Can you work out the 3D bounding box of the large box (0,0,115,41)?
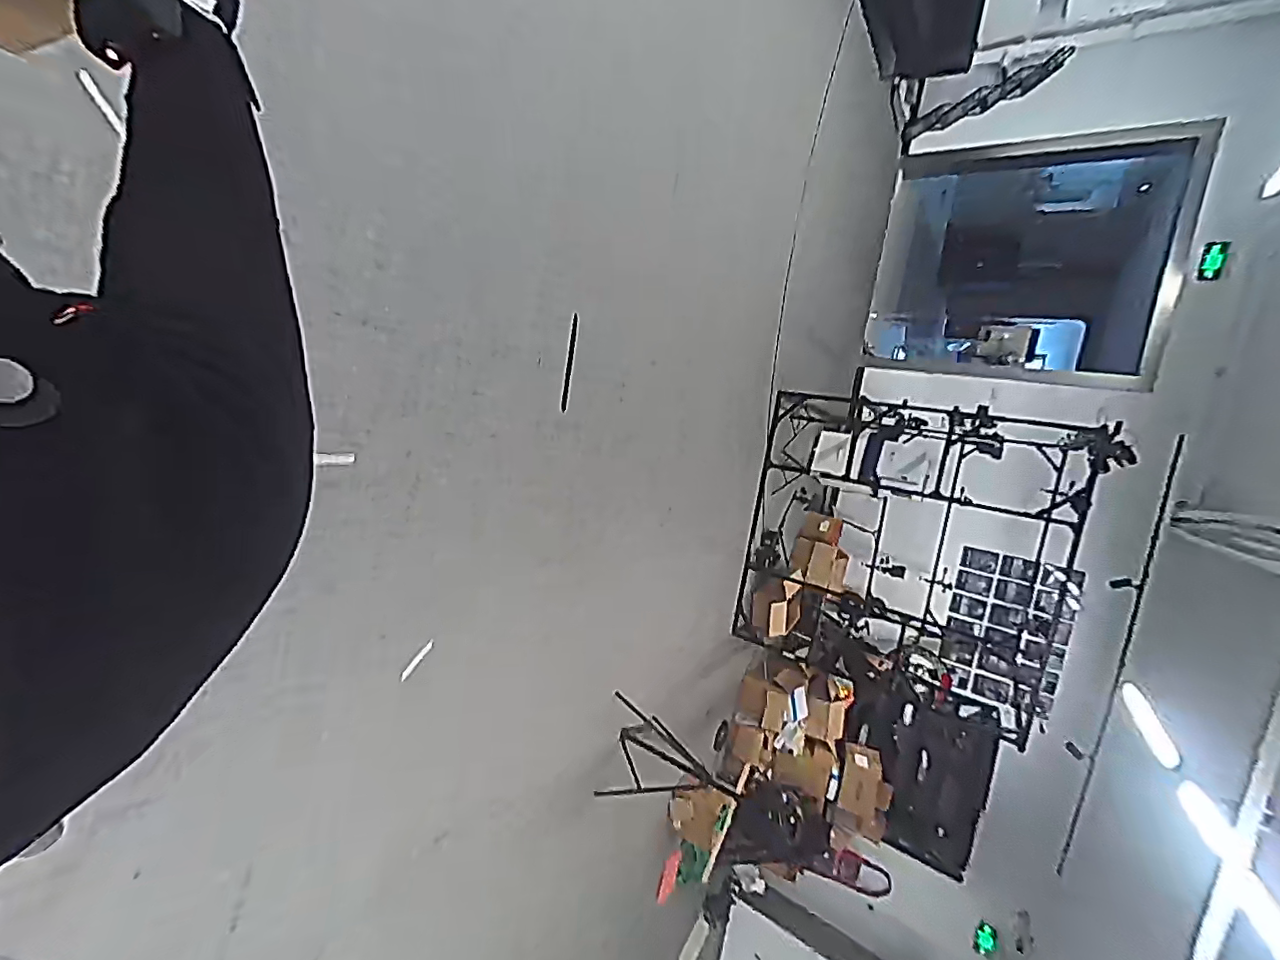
[{"bbox_3d":[-0.574,-0.533,0.279,0.408,0.320,0.320,-4,111,-59],"label":"large box"}]
